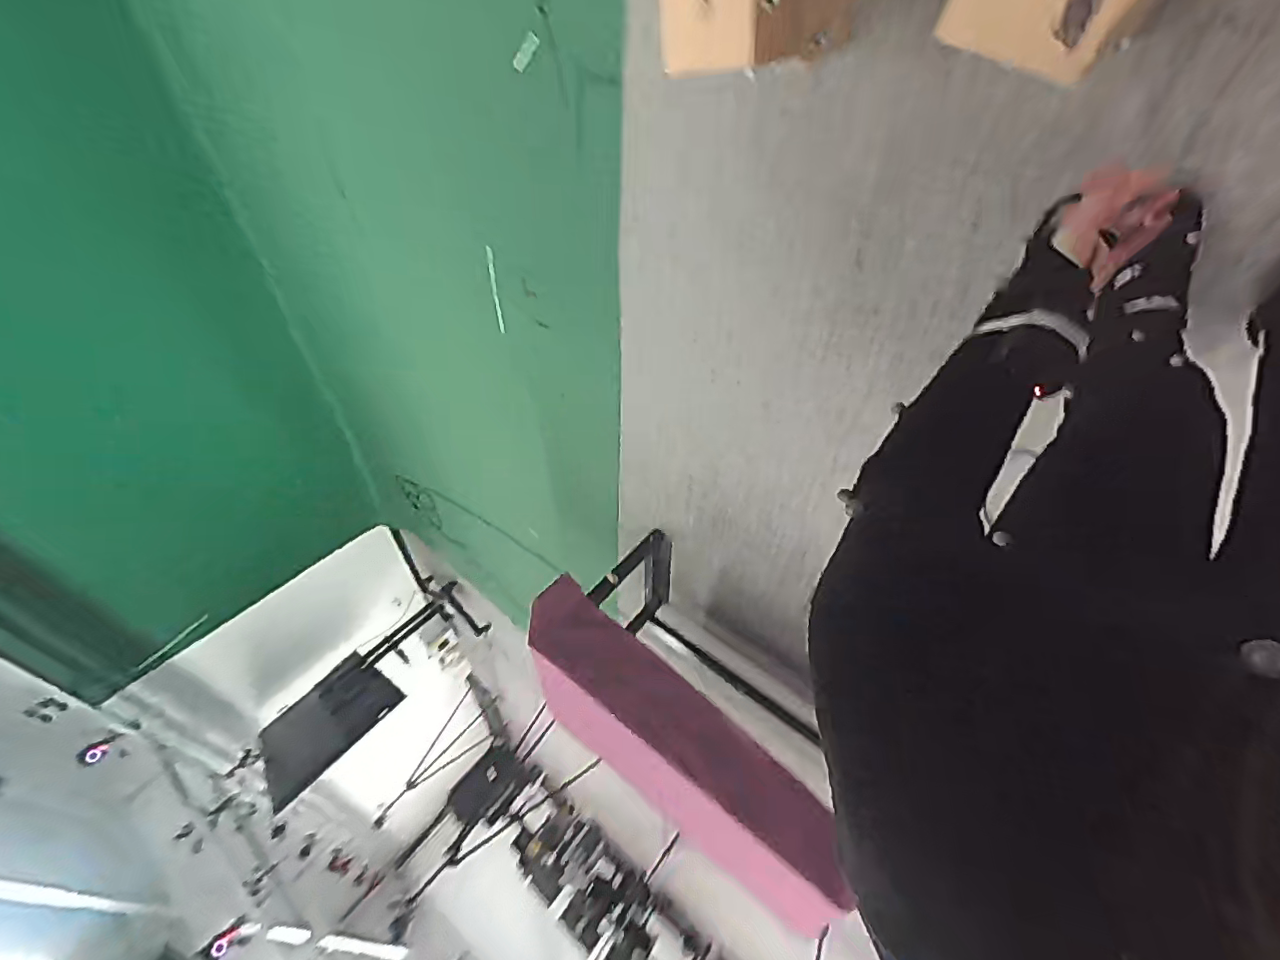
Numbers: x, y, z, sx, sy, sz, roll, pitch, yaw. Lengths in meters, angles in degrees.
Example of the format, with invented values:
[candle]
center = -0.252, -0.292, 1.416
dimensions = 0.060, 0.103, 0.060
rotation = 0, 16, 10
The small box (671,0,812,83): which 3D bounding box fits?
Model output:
[small box]
center = 0.165, -0.751, 0.860
dimensions = 0.168, 0.176, 0.179
rotation = 25, 138, 32
